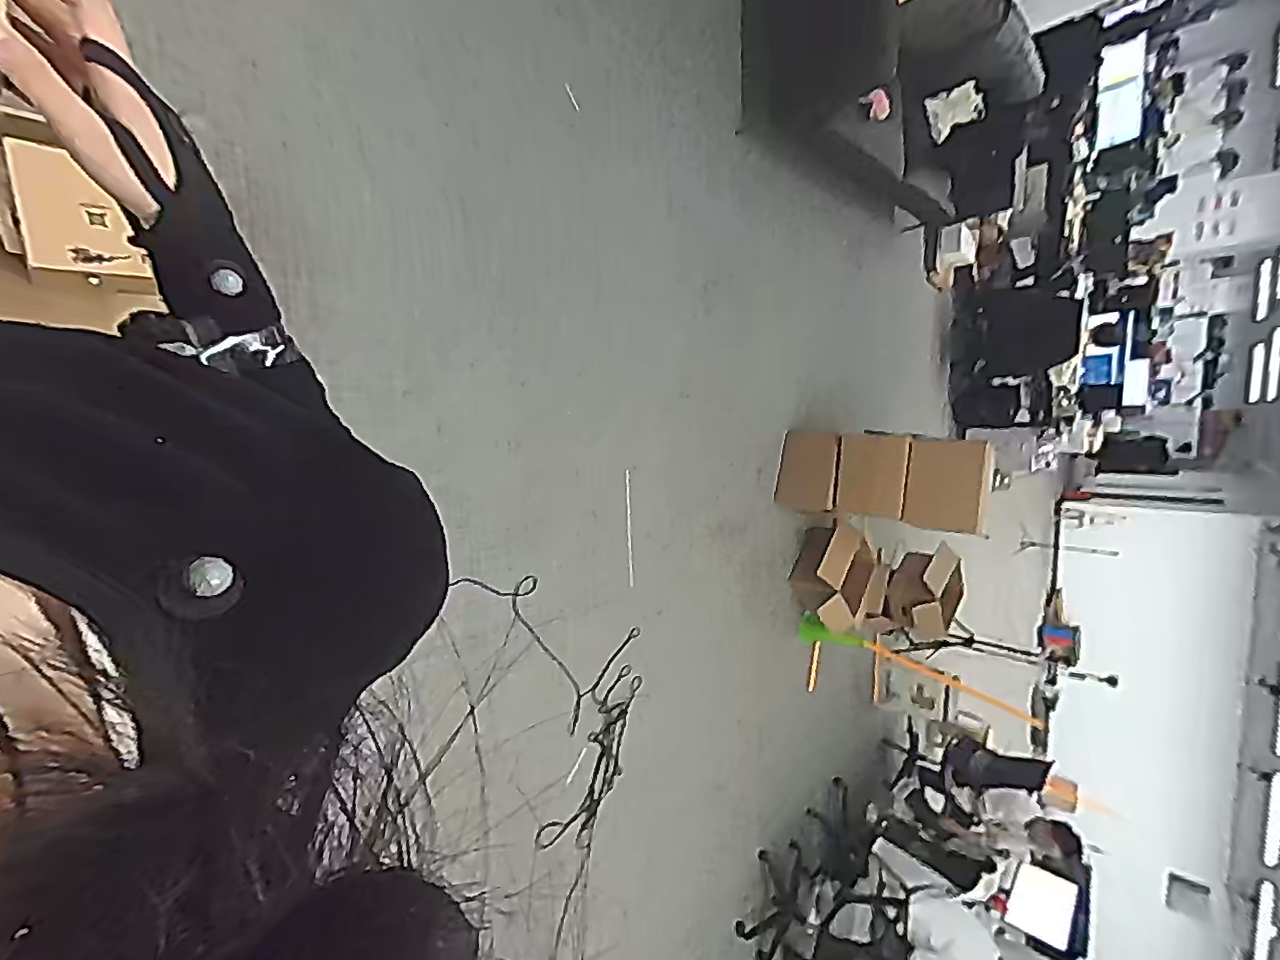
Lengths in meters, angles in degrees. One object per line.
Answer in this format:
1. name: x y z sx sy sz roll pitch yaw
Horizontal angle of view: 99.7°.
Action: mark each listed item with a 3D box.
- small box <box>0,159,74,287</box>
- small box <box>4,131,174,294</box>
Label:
1. small box: -0.999 -0.446 0.974 0.179 0.176 0.168 -16 106 -44
2. small box: -0.877 -0.412 0.868 0.168 0.176 0.179 -11 101 -44
